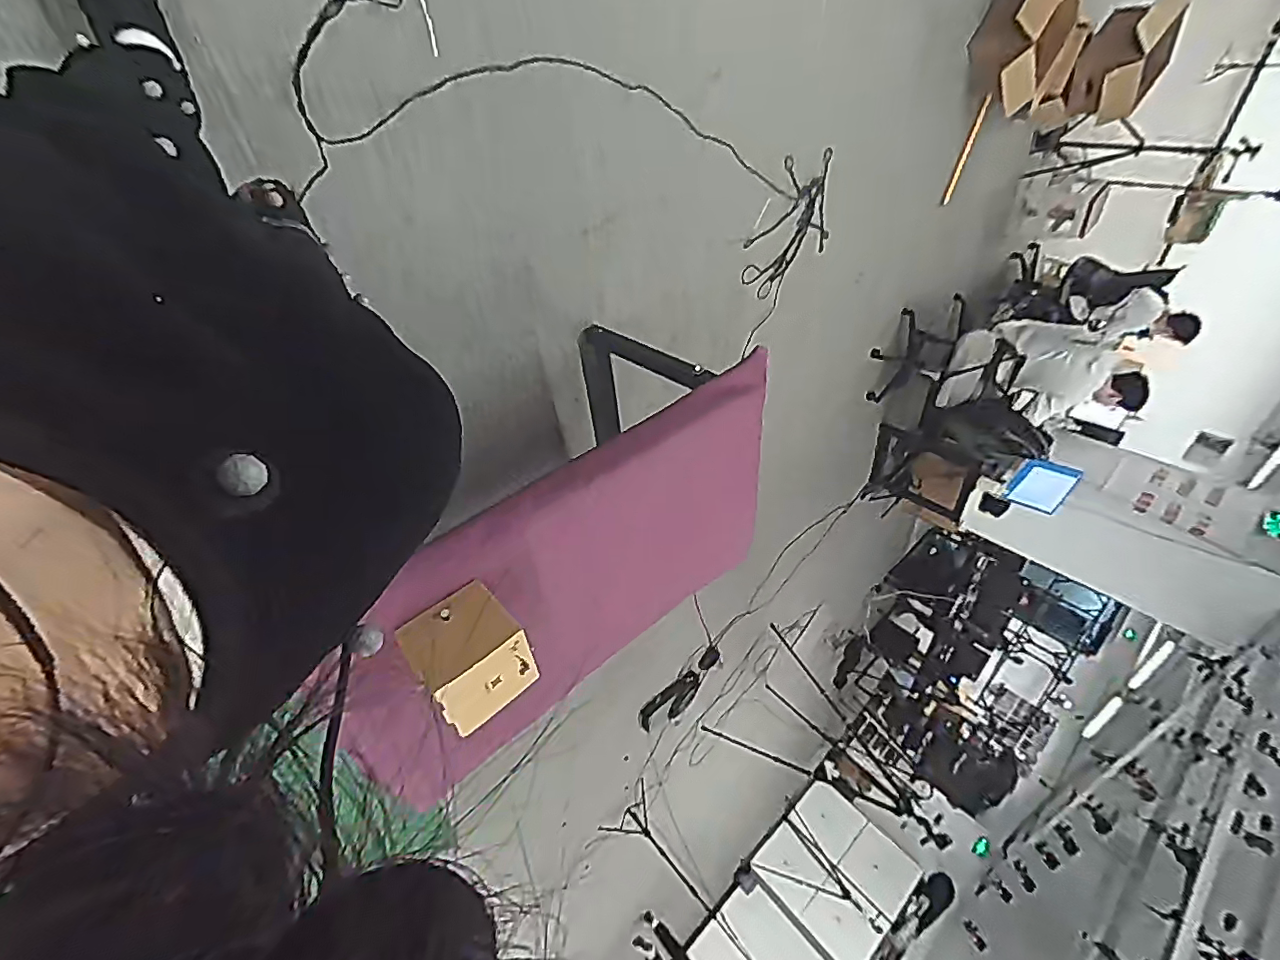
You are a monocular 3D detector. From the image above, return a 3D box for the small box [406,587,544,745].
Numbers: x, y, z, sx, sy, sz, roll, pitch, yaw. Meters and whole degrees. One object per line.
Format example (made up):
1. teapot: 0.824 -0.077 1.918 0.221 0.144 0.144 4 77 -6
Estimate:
1. small box: -0.308 0.336 1.001 0.179 0.176 0.168 -32 137 -28
